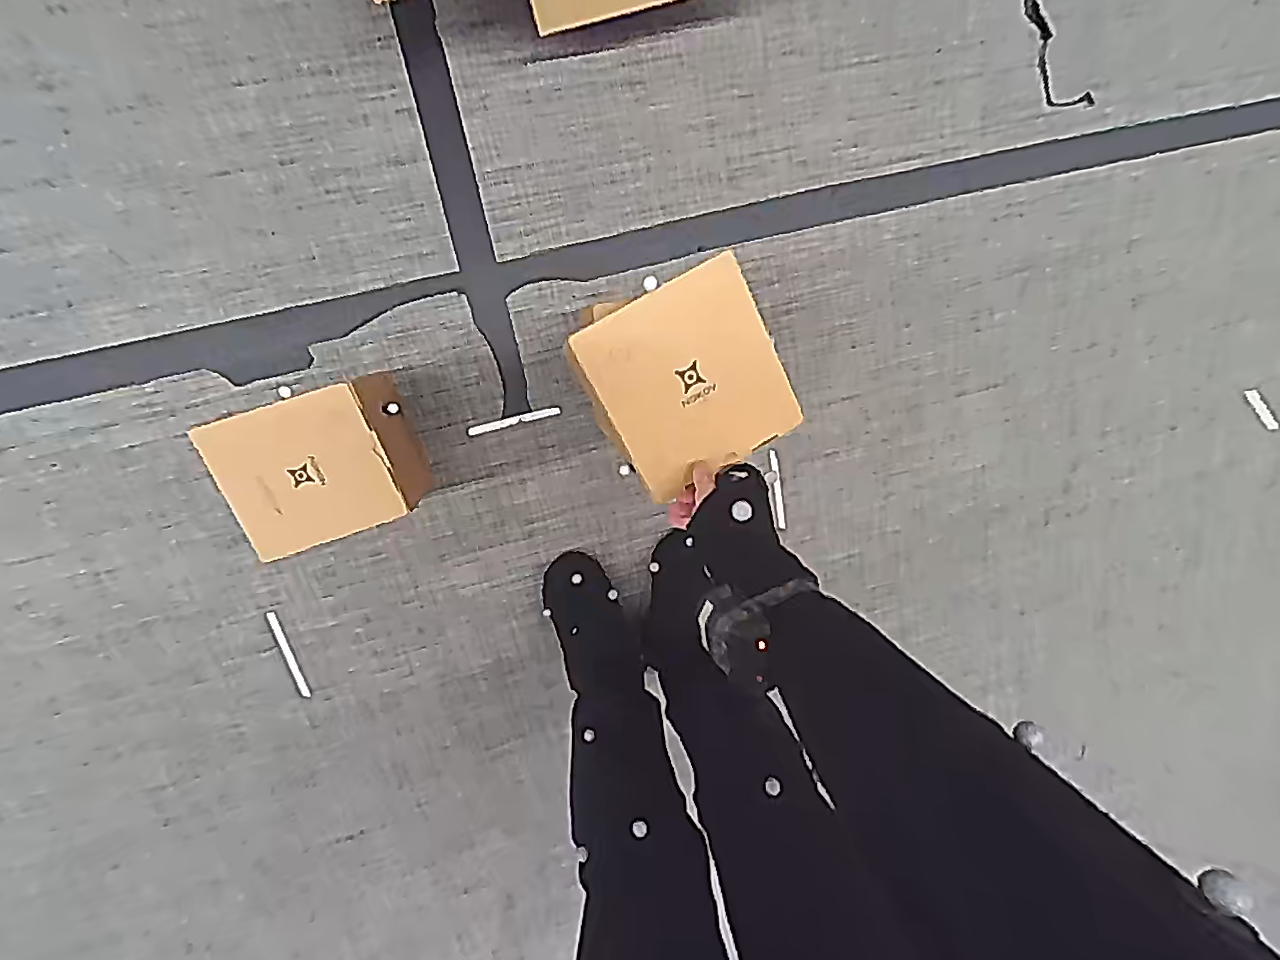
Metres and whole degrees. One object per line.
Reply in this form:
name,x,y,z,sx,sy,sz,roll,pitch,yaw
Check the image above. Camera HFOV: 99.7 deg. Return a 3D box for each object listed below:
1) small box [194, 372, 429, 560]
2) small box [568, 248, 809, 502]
small box,-0.382,-0.030,0.676,0.179,0.176,0.168,-19,107,-5
small box,0.036,-0.106,0.561,0.168,0.176,0.179,-31,106,-2
